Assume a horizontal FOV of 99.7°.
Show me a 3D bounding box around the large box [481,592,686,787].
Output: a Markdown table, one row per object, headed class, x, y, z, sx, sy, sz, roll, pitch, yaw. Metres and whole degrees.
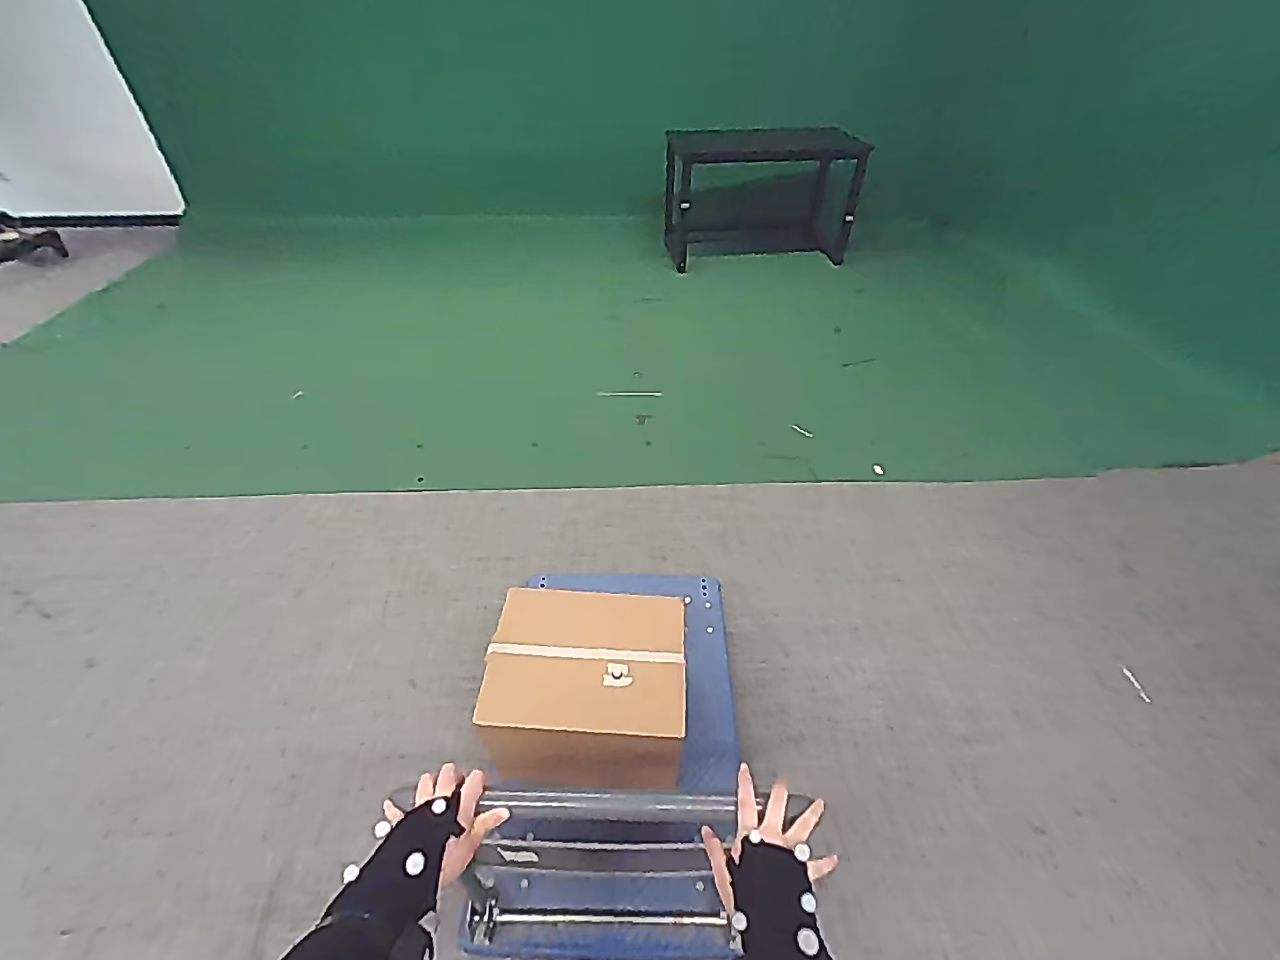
| class | x | y | z | sx | sy | sz | roll | pitch | yaw |
| --- | --- | --- | --- | --- | --- | --- | --- | --- | --- |
| large box | -0.110 | 0.482 | 1.244 | 0.408 | 0.320 | 0.320 | 3 | 43 | 1 |
